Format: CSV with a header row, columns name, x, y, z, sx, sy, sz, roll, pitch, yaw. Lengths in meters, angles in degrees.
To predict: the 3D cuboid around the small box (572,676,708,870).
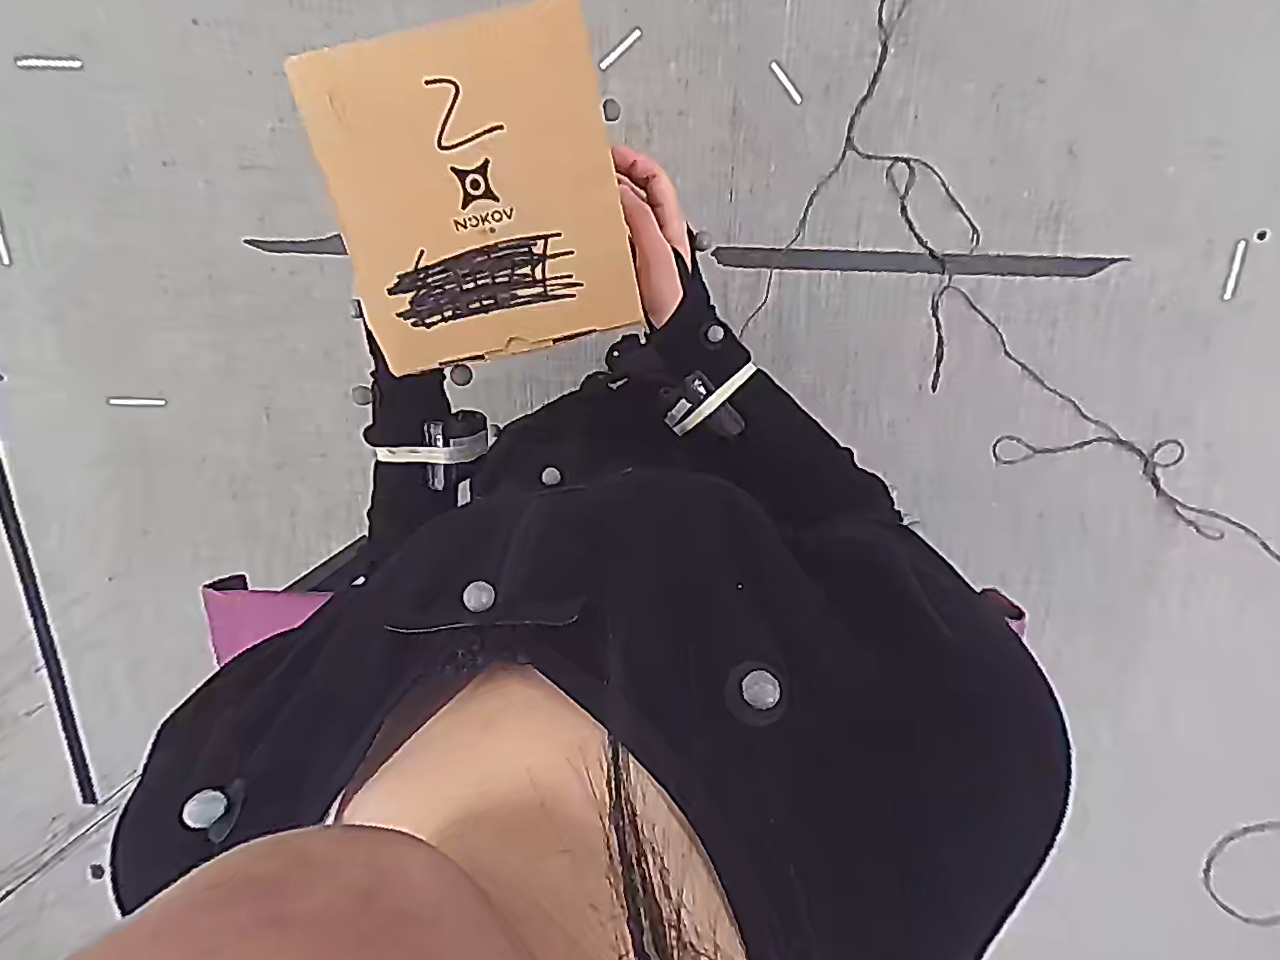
name,x,y,z,sx,sy,sz,roll,pitch,yaw
small box,-0.003,0.408,0.770,0.168,0.176,0.179,3,104,-2
